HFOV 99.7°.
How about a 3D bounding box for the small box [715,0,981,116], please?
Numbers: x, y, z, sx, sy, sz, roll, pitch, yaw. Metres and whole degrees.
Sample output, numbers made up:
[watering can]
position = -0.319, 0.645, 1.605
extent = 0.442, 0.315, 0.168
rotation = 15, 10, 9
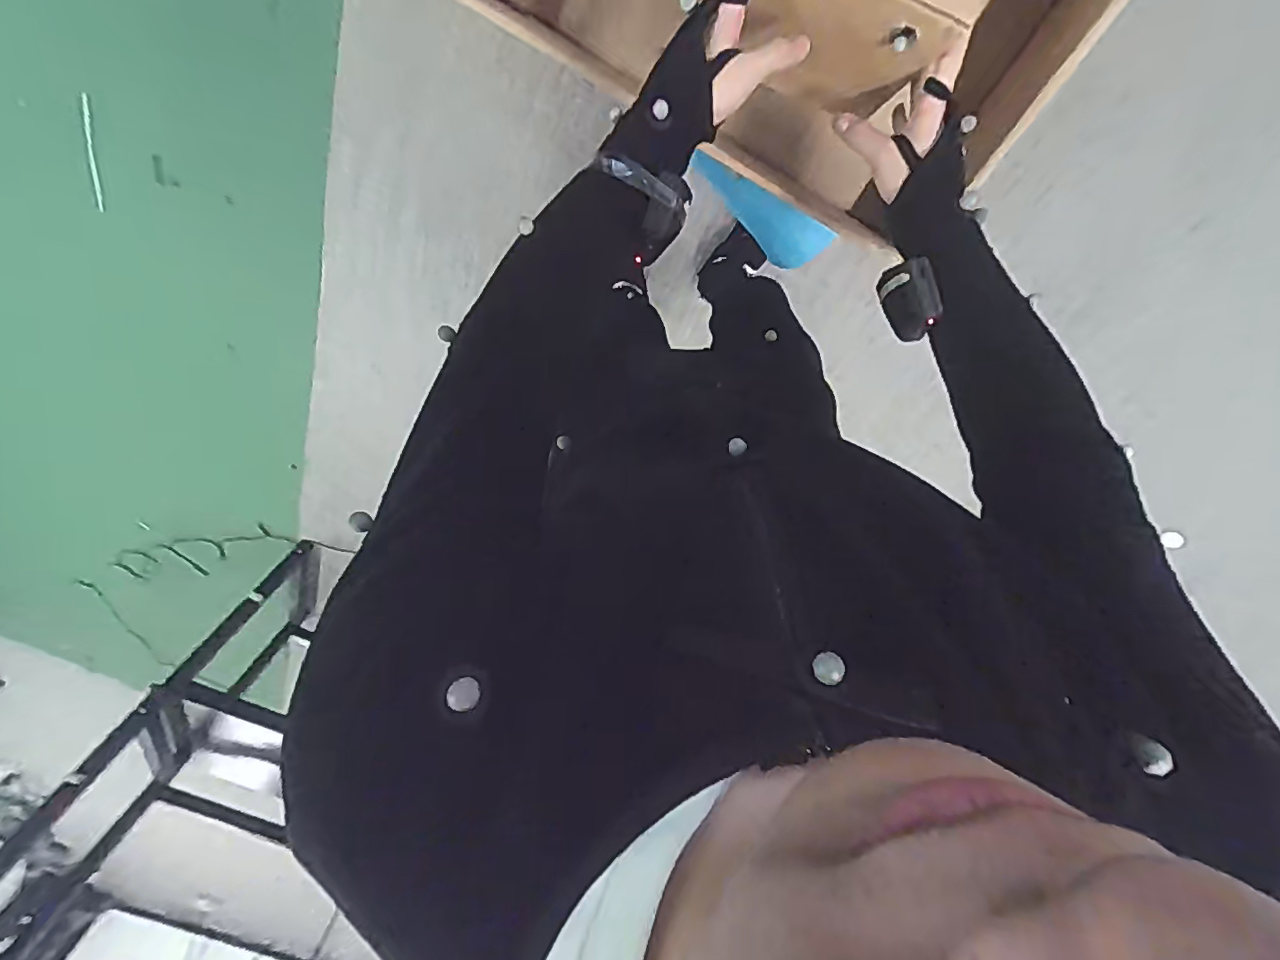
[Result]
[small box]
position = 0.182, -0.454, 0.462
extent = 0.179, 0.176, 0.168
rotation = 15, 99, -11
